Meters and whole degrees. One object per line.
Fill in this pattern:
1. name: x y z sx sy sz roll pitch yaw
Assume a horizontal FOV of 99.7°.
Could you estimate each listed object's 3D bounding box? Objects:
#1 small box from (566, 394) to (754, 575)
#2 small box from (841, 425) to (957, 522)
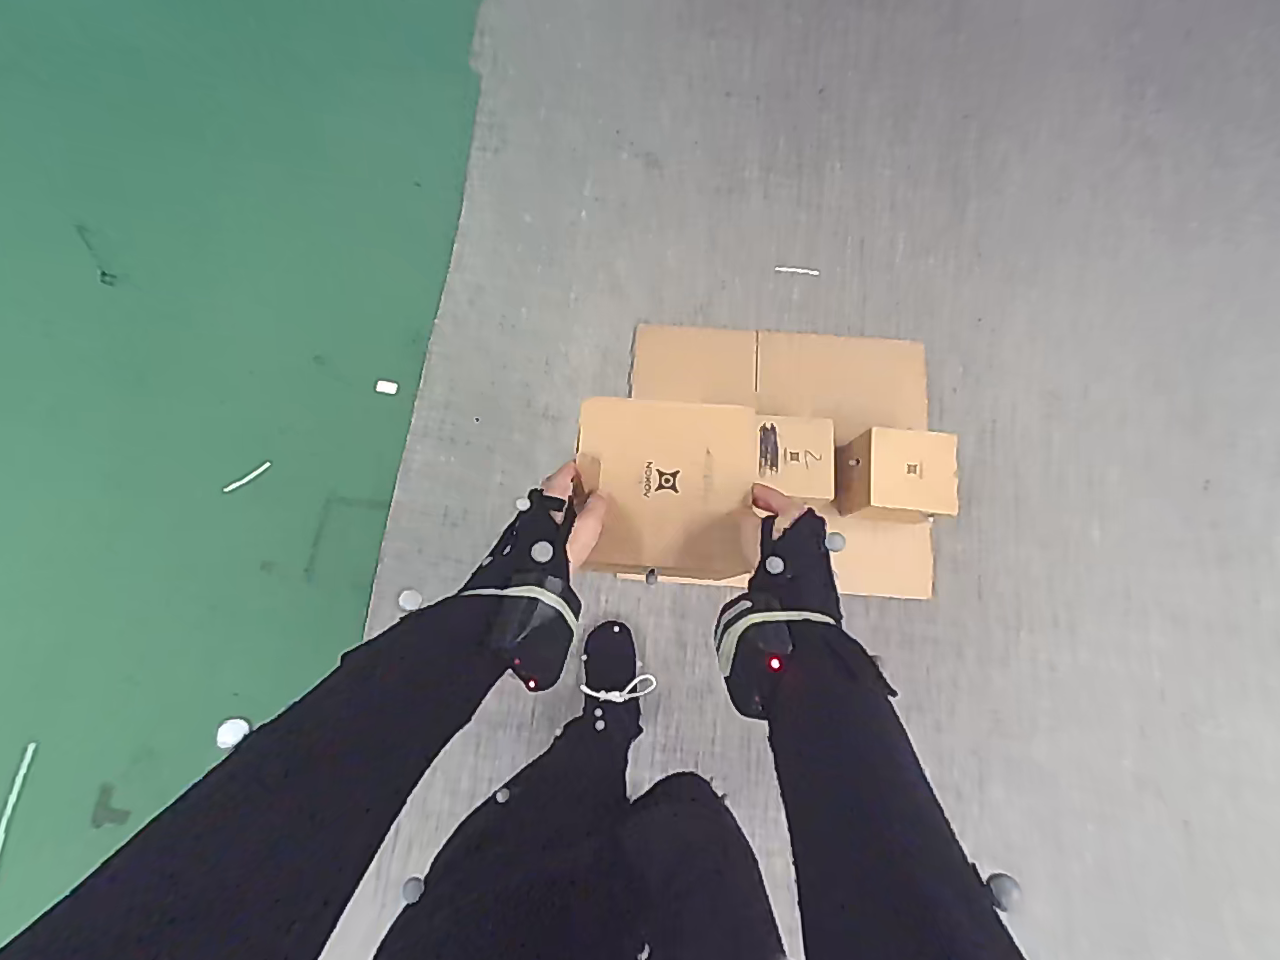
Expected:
1. small box: 0.021 0.015 0.600 0.179 0.176 0.168 4 78 -1
2. small box: 0.539 -0.007 1.145 0.179 0.176 0.168 5 79 1
